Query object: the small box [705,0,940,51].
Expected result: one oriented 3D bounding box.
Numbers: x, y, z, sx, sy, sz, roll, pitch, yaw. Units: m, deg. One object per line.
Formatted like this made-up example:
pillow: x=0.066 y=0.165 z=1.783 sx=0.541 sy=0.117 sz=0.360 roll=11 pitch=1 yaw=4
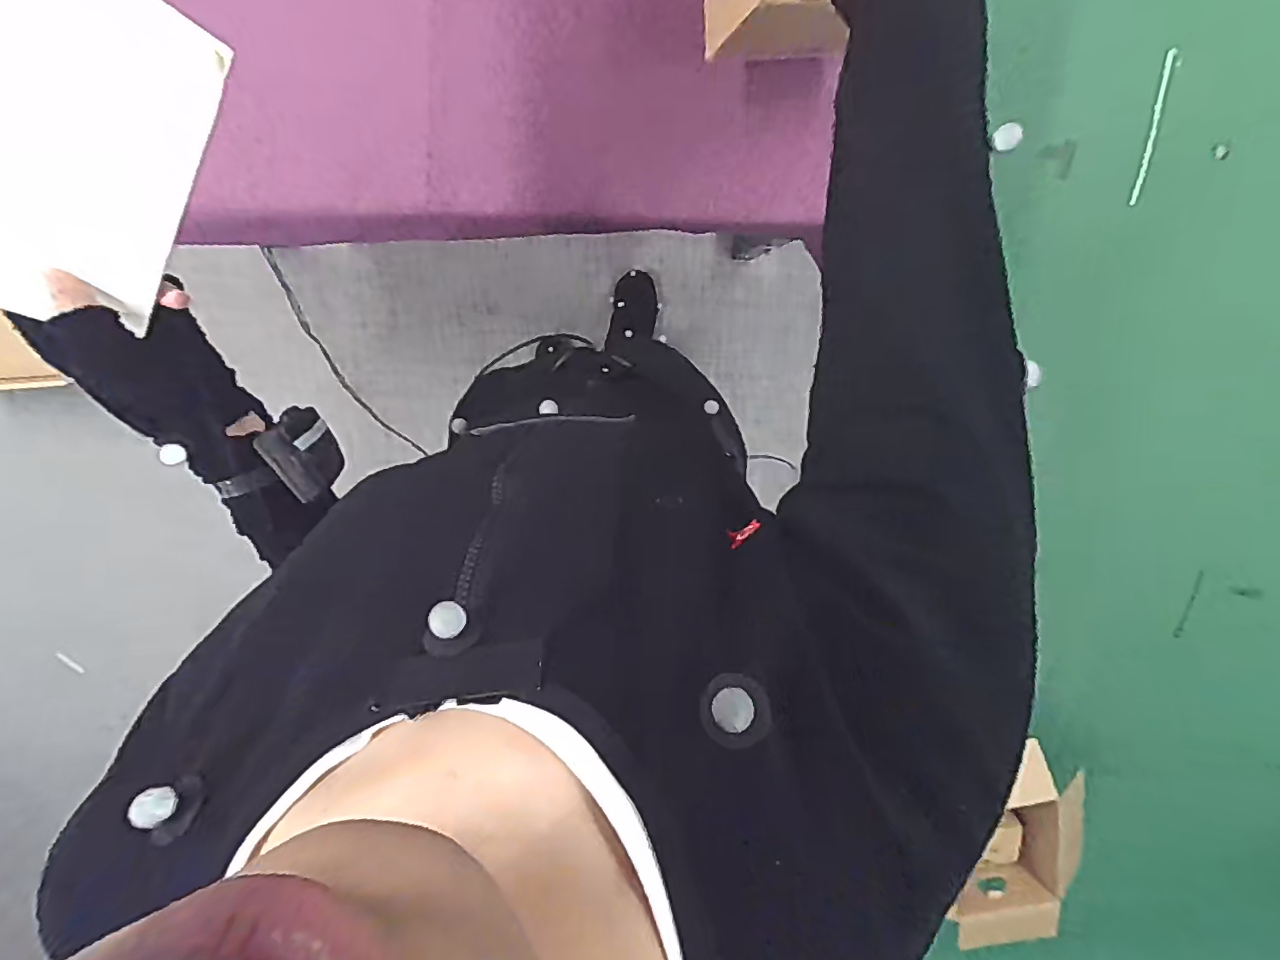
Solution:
small box: x=0.150 y=-0.476 z=0.441 sx=0.168 sy=0.176 sz=0.179 roll=-7 pitch=116 yaw=-6
